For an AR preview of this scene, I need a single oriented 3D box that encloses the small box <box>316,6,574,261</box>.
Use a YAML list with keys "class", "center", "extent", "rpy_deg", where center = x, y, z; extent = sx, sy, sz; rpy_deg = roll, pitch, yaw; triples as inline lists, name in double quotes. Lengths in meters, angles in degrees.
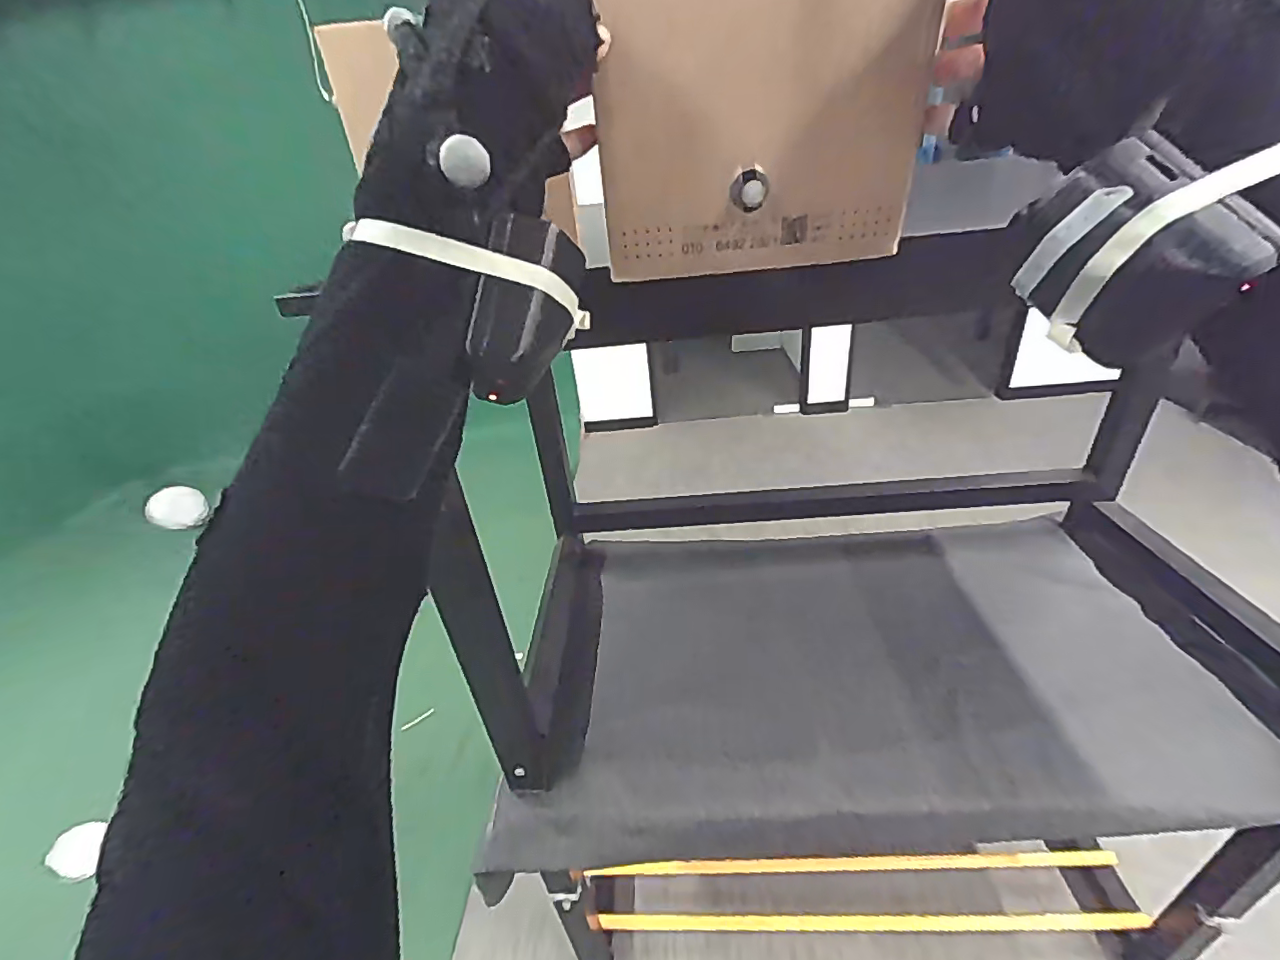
- class: "small box"
  center: [-0.156, -0.309, 0.508]
  extent: [0.168, 0.176, 0.179]
  rpy_deg: [-7, 31, -2]
